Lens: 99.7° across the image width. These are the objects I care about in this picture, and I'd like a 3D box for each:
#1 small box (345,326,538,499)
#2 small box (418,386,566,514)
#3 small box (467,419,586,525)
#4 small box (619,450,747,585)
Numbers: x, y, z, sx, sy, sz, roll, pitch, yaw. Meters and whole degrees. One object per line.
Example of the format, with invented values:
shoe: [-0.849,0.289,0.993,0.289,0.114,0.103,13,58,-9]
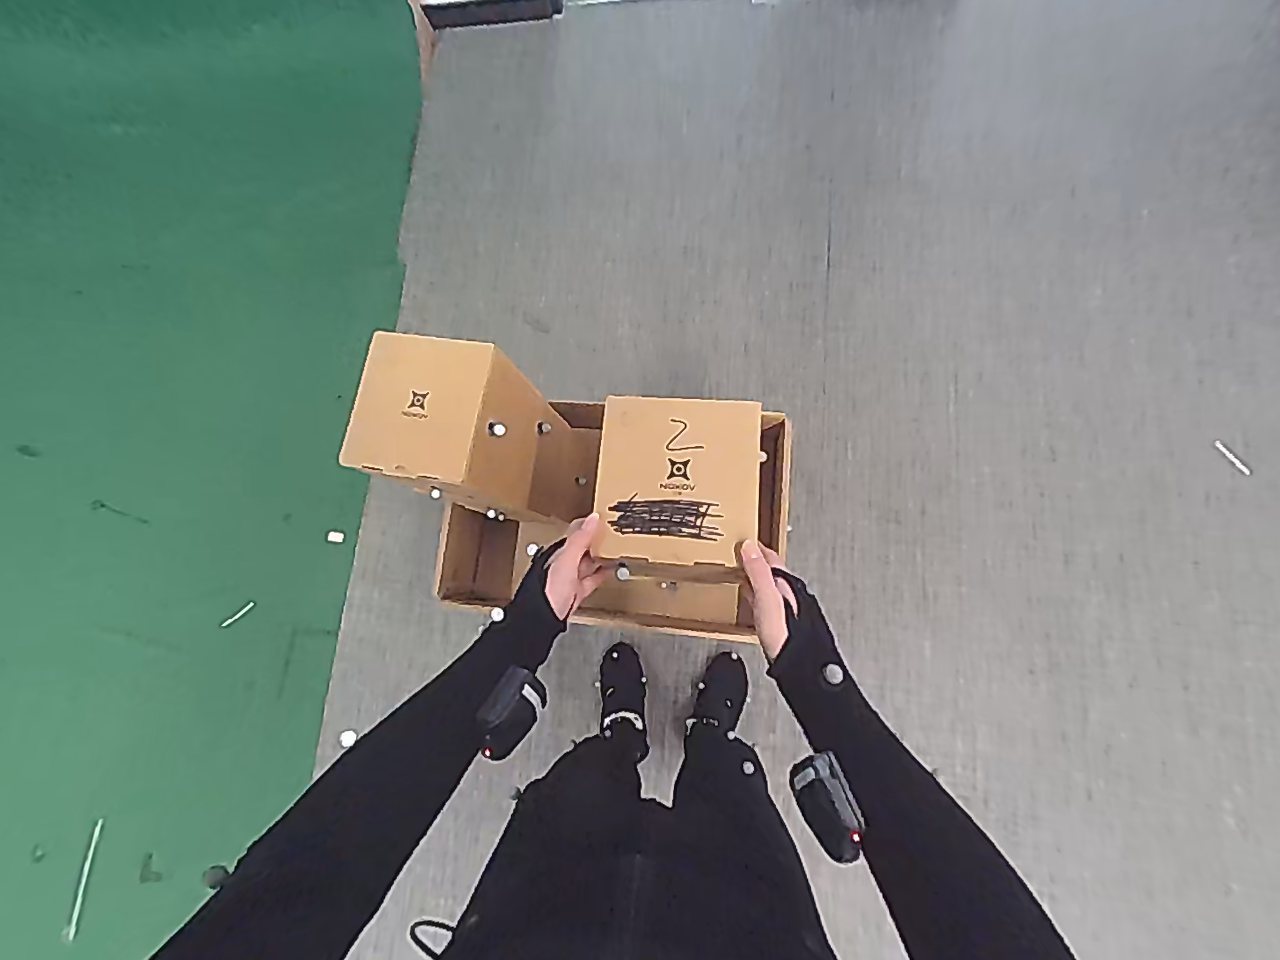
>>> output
small box: [-0.250,-0.082,0.727,0.168,0.176,0.179,9,81,10]
small box: [-0.230,-0.051,0.885,0.168,0.176,0.179,8,80,11]
small box: [-0.209,-0.018,1.045,0.168,0.176,0.179,7,80,9]
small box: [0.069,0.063,0.819,0.168,0.176,0.179,3,80,9]
